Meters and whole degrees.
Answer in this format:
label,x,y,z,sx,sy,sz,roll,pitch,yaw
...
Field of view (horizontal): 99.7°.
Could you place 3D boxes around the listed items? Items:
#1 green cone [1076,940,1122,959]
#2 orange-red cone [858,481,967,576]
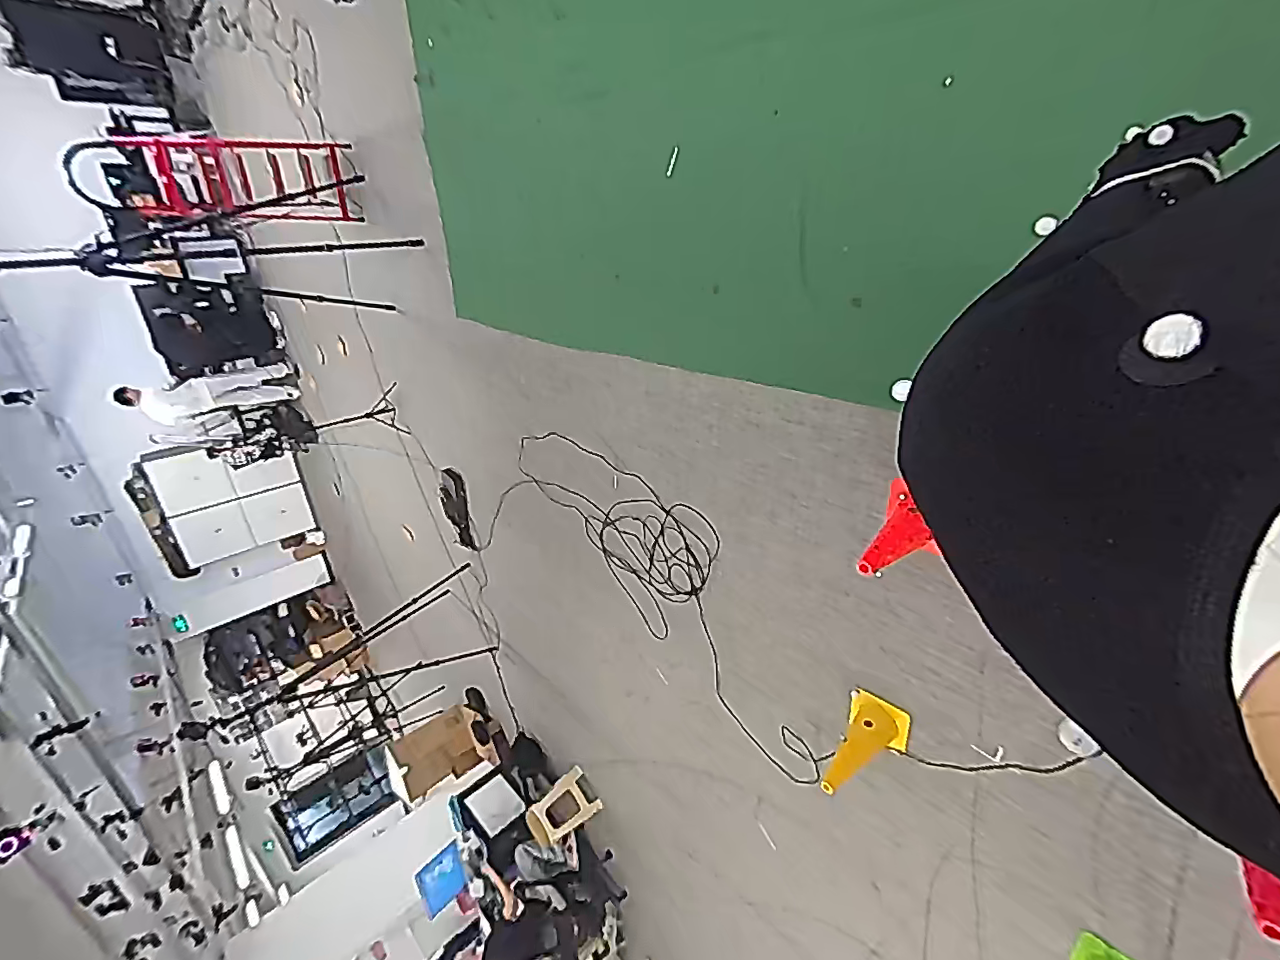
label,x,y,z,sx,sy,sz,roll,pitch,yaw
green cone,1.259,1.506,1.451,0.202,0.368,0.200,22,124,44
orange-red cone,0.687,0.169,1.442,0.198,0.360,0.199,24,127,43
